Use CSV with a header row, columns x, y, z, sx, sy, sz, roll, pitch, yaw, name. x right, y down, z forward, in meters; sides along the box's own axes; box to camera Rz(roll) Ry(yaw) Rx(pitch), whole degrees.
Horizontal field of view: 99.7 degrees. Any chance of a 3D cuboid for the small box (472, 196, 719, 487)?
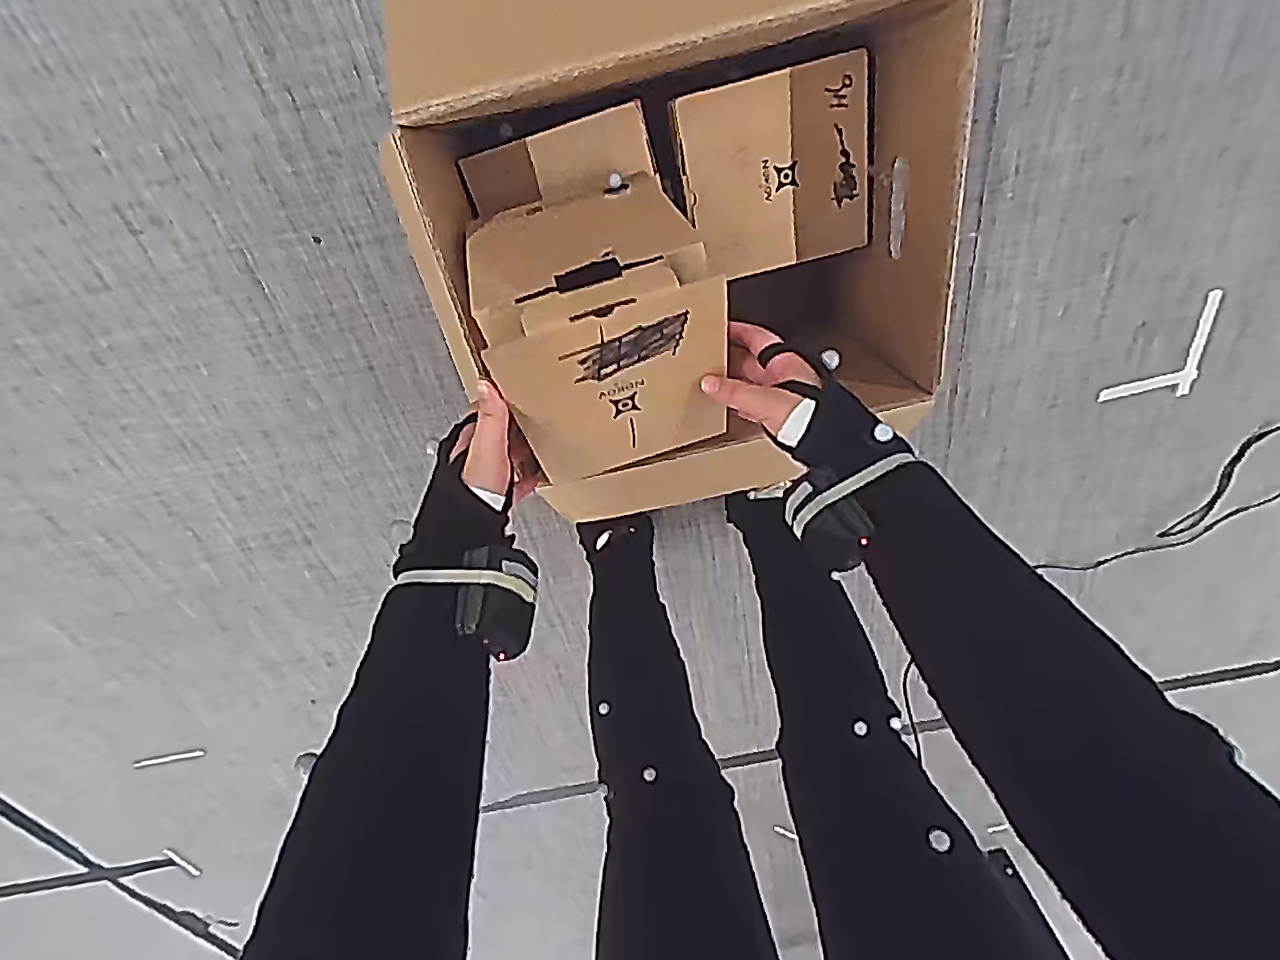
x,y,z,sx,sy,sz,roll,pitch,yaw,name
-0.040,-0.129,0.481,0.168,0.176,0.179,-18,137,-2,small box
